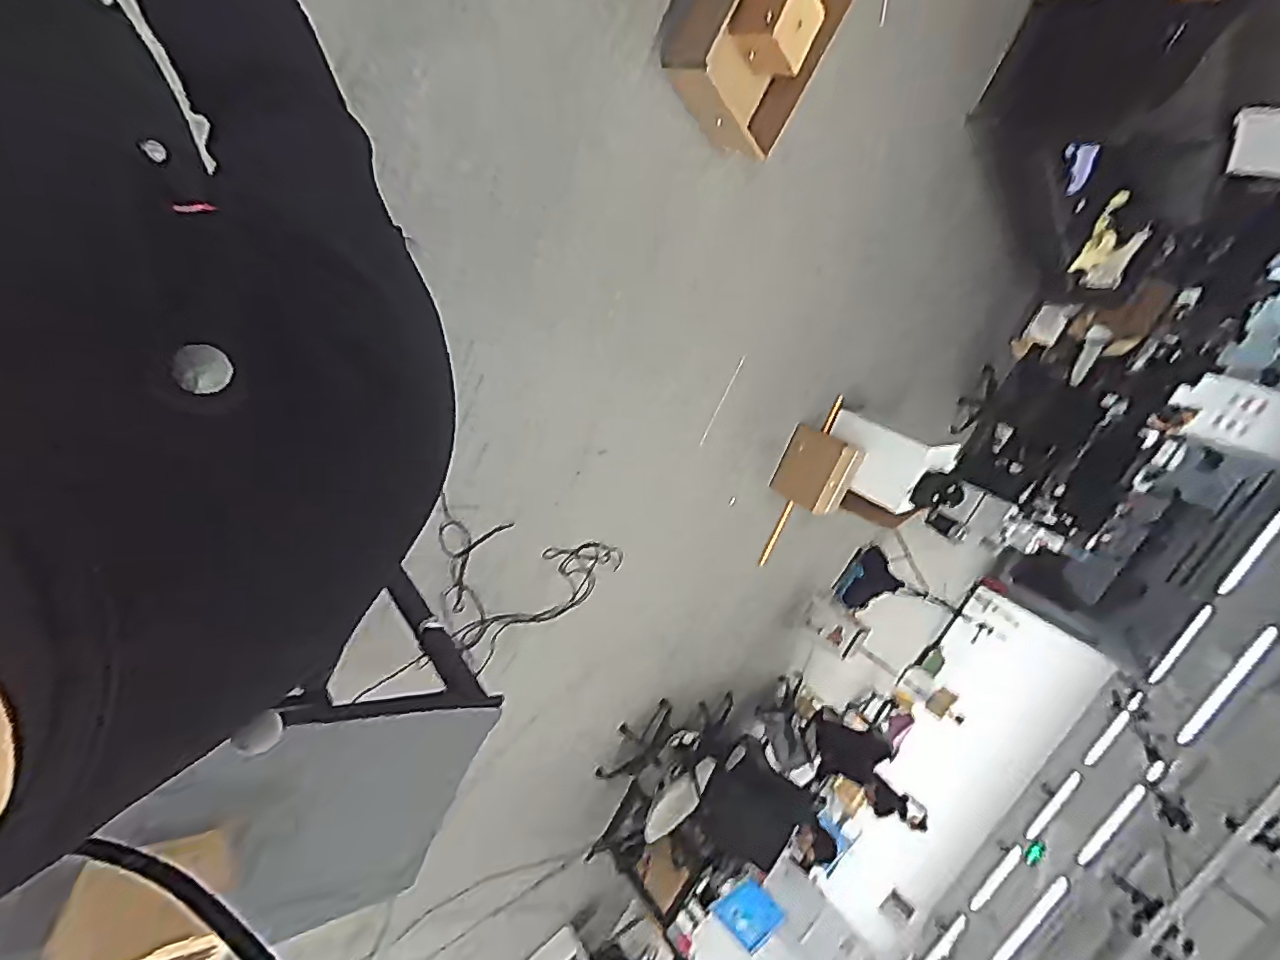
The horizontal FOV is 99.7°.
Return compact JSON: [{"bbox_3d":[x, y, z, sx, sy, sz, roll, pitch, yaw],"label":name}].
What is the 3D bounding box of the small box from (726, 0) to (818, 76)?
[{"bbox_3d":[0.383,-1.327,1.579,0.168,0.176,0.179,11,109,-50],"label":"small box"}]
